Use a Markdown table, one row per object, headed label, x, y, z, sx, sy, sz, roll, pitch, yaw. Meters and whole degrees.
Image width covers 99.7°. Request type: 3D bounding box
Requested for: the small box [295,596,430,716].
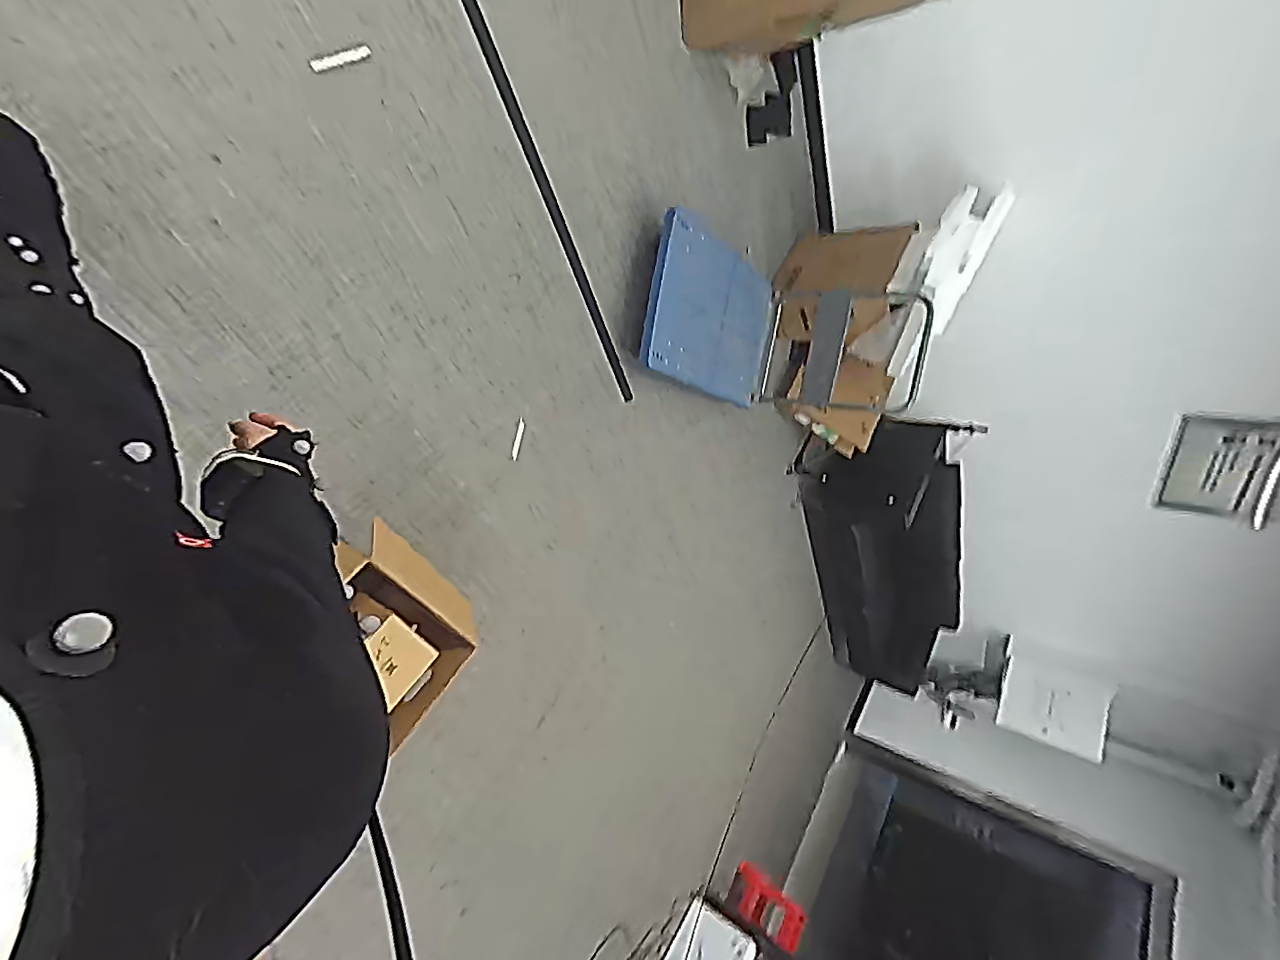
| label | x | y | z | sx | sy | sz | roll | pitch | yaw |
| --- | --- | --- | --- | --- | --- | --- | --- | --- | --- |
| small box | -0.617 | 0.383 | 1.204 | 0.168 | 0.176 | 0.179 | -52 | 135 | -30 |
